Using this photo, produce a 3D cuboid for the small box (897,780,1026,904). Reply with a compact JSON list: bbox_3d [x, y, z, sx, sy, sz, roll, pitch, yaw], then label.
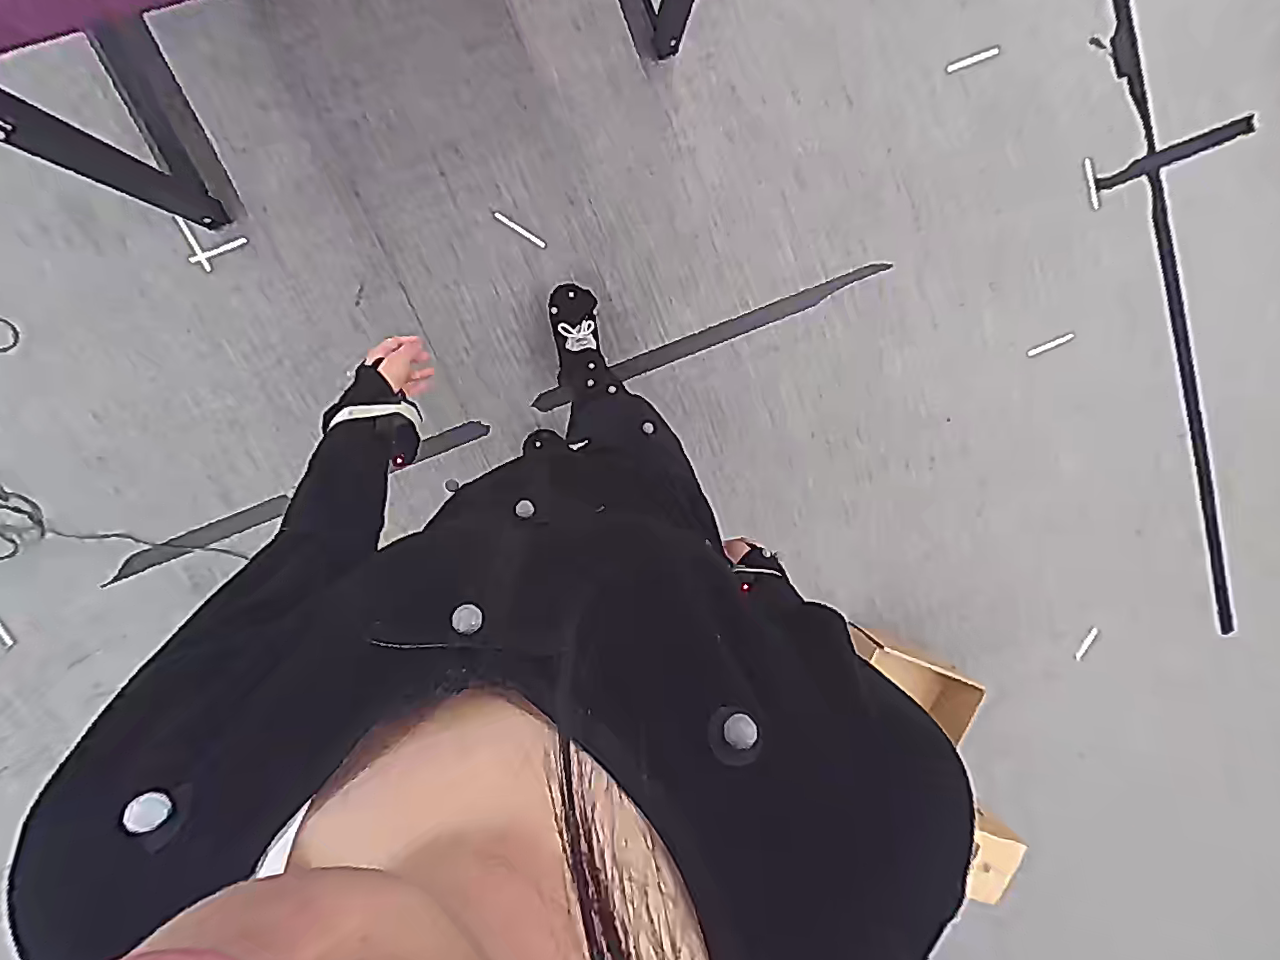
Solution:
[{"bbox_3d":[0.763,0.863,1.304,0.179,0.176,0.168,24,96,-13],"label":"small box"}]
